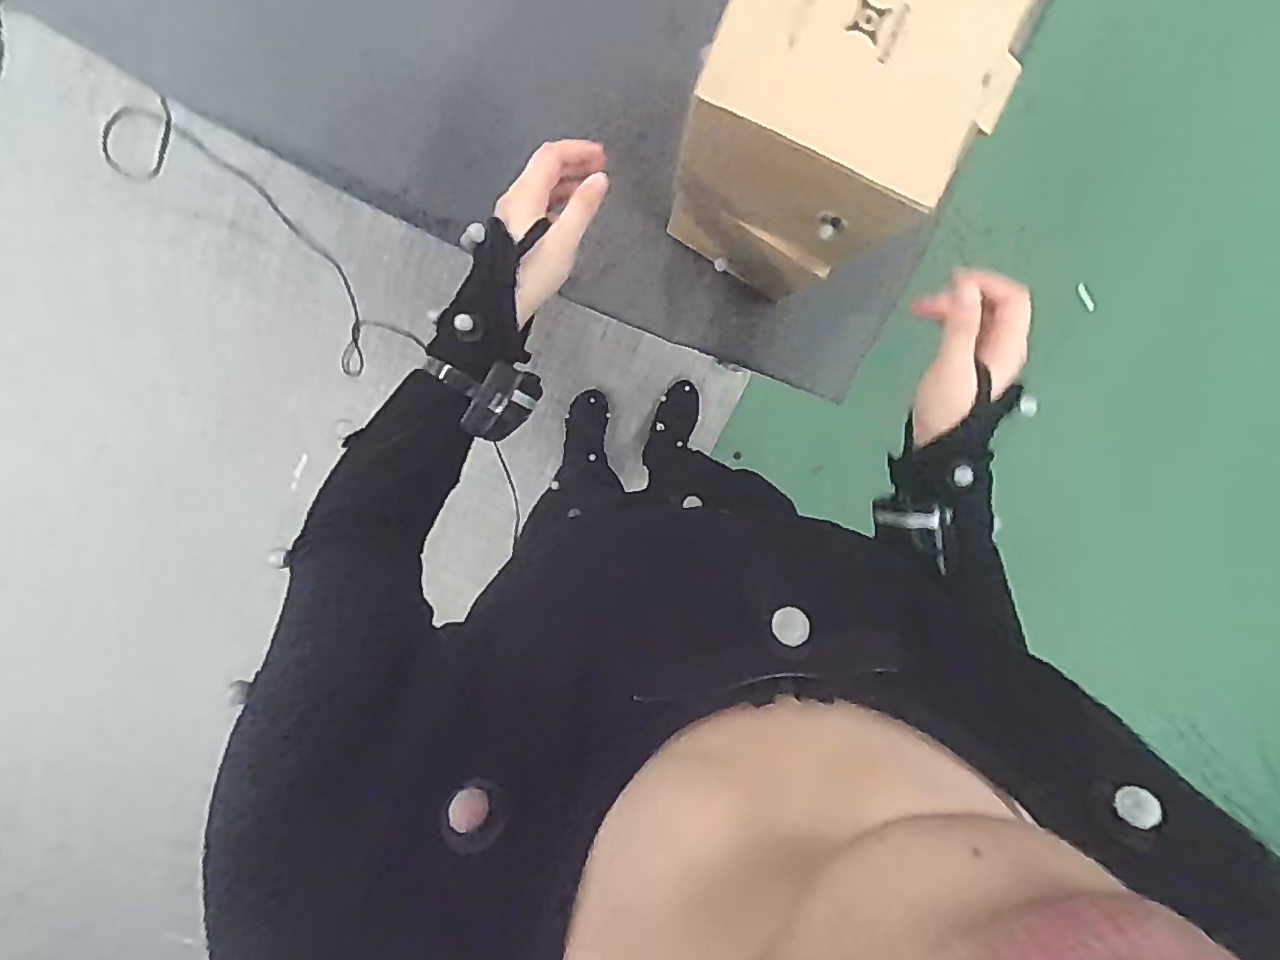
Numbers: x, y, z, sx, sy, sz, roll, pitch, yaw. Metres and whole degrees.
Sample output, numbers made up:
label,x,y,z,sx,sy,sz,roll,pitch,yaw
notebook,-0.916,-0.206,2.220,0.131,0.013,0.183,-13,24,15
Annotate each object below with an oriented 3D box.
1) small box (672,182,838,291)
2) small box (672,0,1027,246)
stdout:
label,x,y,z,sx,sy,sz,roll,pitch,yaw
small box,0.143,-0.324,0.563,0.168,0.176,0.179,31,100,-6
small box,0.136,-0.297,0.403,0.179,0.176,0.168,23,98,-4
